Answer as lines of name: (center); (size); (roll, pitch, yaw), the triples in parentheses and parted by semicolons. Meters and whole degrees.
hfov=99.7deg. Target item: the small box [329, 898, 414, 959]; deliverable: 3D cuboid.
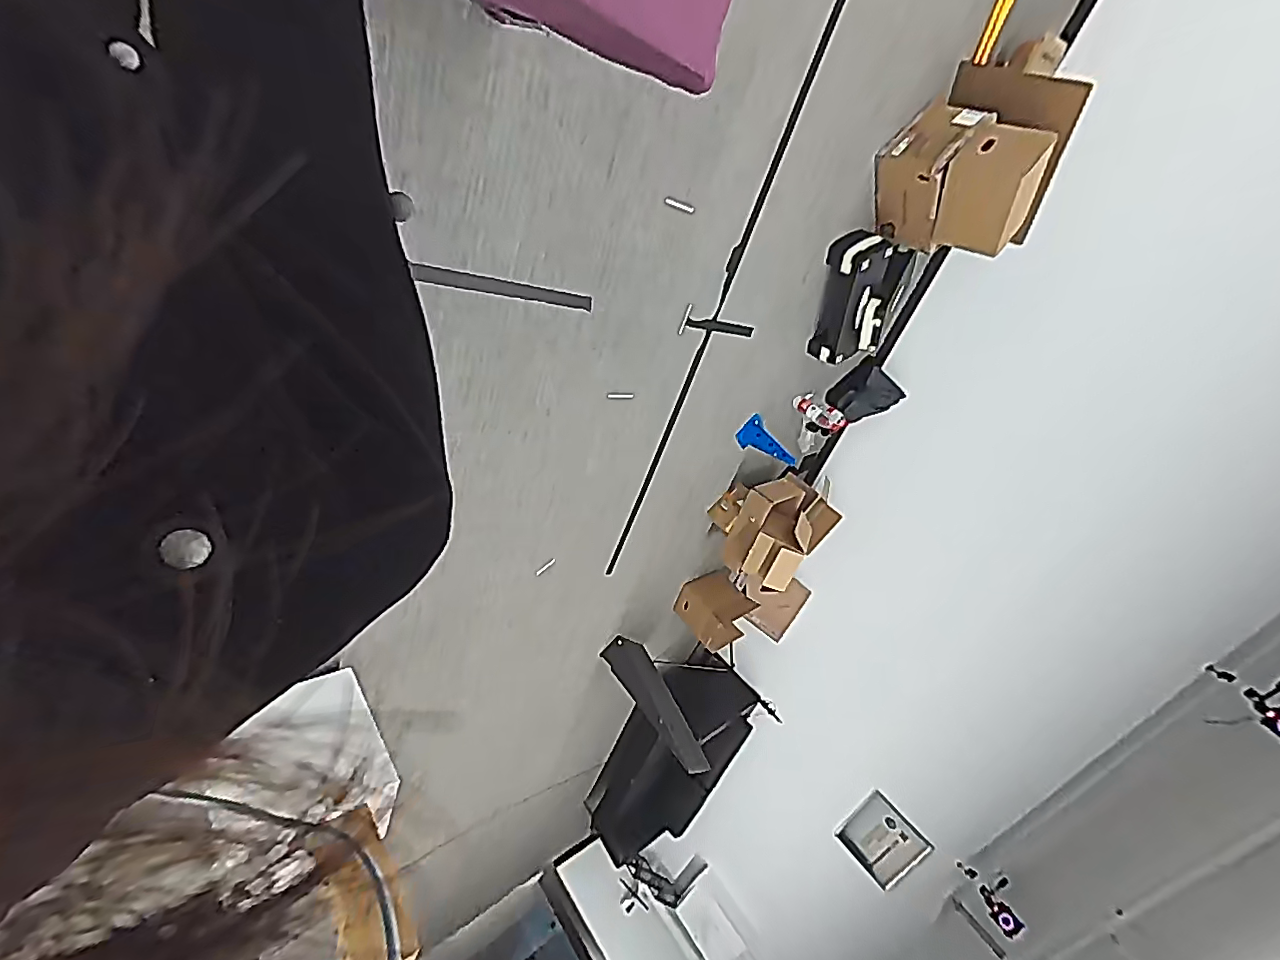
small box: (-0.834, 1.457, 1.676); (0.179, 0.176, 0.168); (-5, 130, -46)

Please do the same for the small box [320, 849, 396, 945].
small box: (-0.929, 1.364, 1.771); (0.168, 0.176, 0.179); (-5, 129, -48)
